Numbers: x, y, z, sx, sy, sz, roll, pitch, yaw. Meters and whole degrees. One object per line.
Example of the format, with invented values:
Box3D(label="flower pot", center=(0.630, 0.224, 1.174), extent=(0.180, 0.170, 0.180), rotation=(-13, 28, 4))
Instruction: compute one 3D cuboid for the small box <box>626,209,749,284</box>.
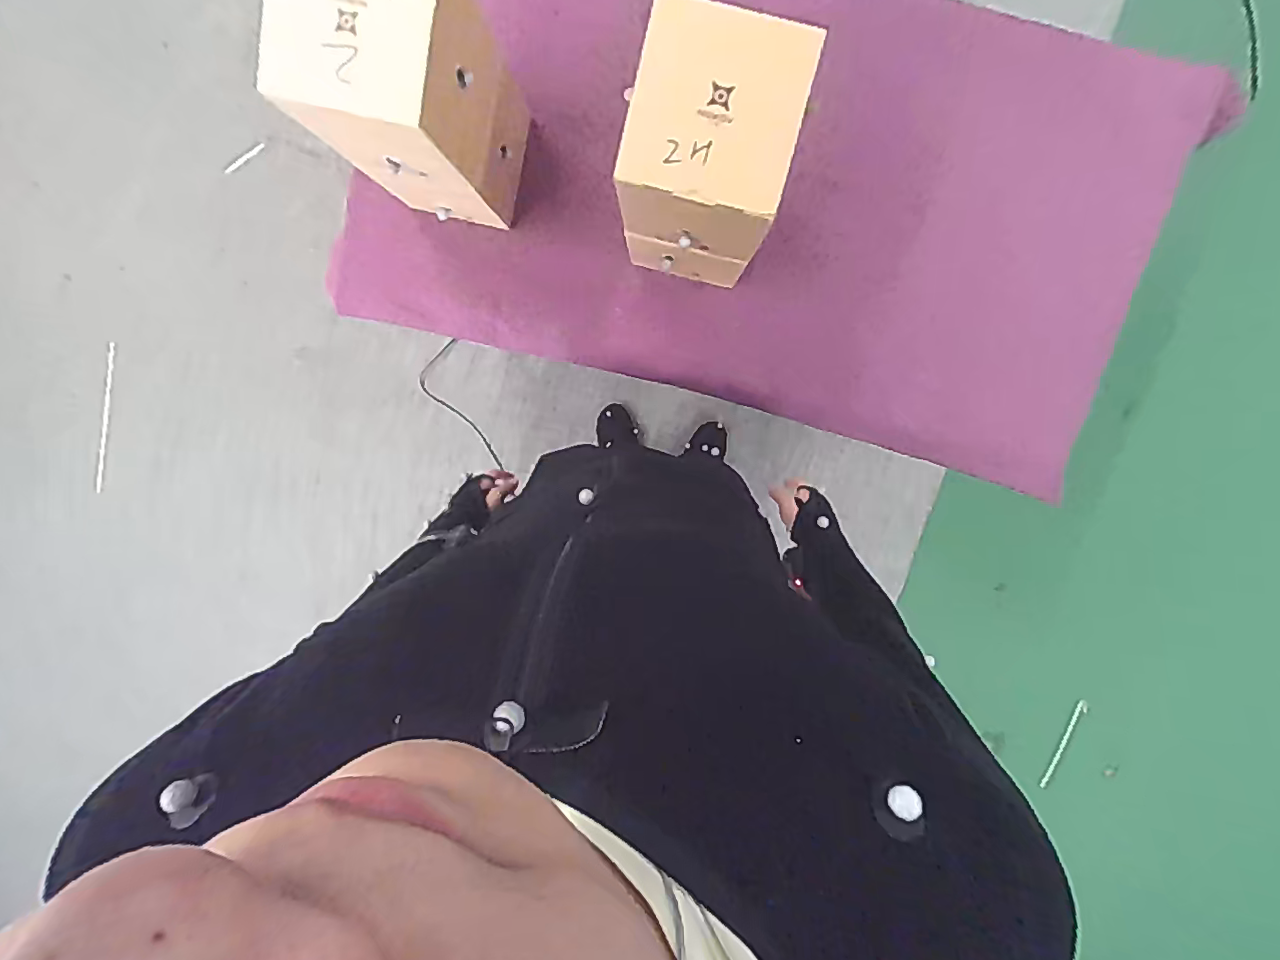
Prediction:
Box3D(label="small box", center=(0.084, -0.391, 0.757), extent=(0.168, 0.176, 0.179), rotation=(13, 98, 0))

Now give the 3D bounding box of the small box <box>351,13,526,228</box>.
Box3D(label="small box", center=(-0.266, -0.480, 0.750), extent=(0.168, 0.176, 0.179), rotation=(13, 99, 0))

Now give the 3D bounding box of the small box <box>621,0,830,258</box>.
Box3D(label="small box", center=(0.081, -0.371, 0.594), extent=(0.168, 0.176, 0.179), rotation=(15, 98, 0))
